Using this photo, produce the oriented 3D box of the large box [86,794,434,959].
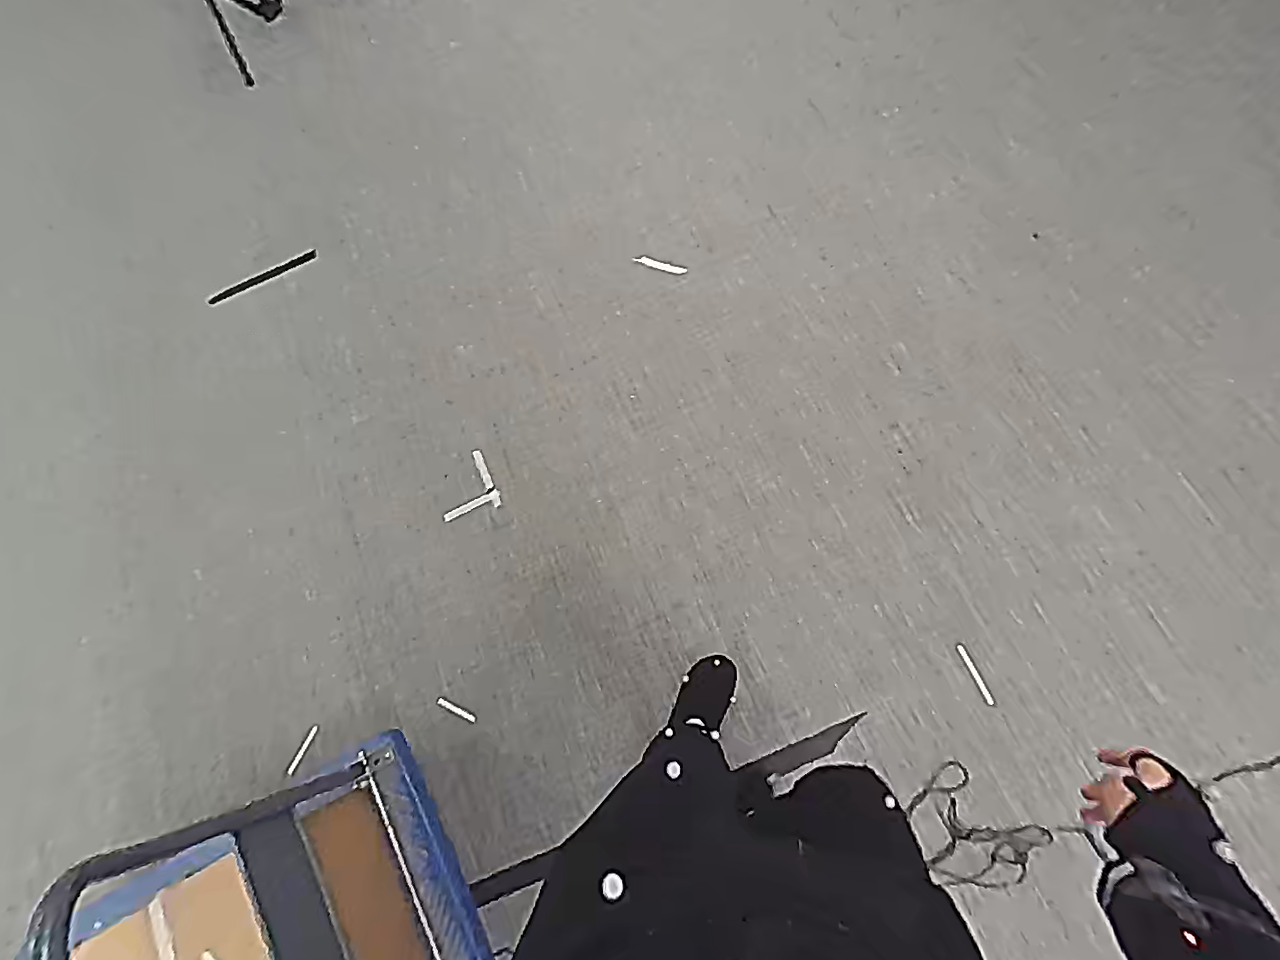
[{"bbox_3d":[-0.610,0.851,0.929,0.320,0.320,0.408,-31,73,-4],"label":"large box"}]
